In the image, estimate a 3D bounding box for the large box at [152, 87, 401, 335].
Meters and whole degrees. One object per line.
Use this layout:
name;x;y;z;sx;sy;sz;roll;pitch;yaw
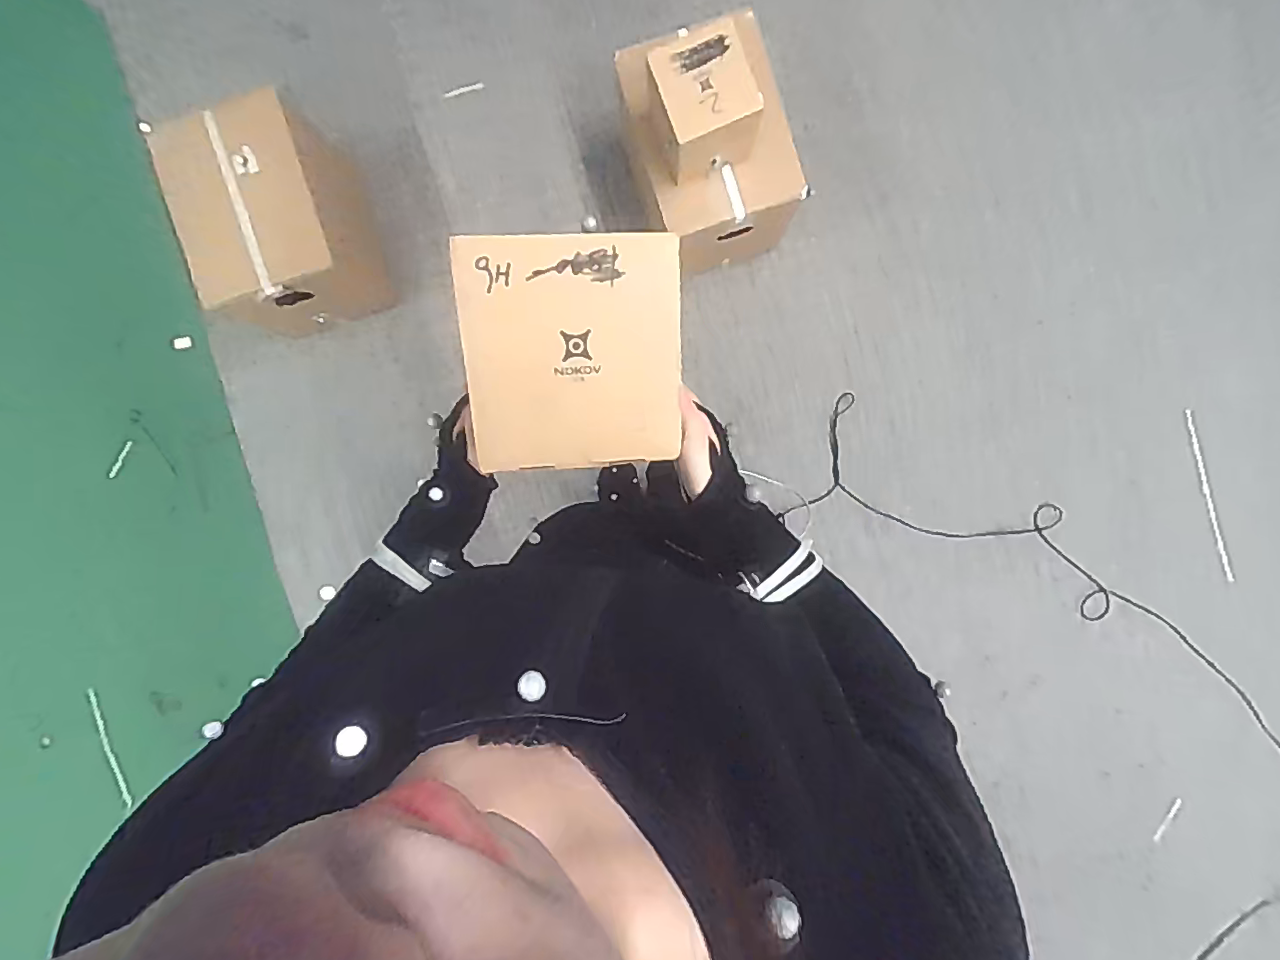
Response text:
large box;-0.857;-0.623;1.329;0.320;0.320;0.408;-17;92;3

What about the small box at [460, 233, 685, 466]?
small box;-0.059;-0.123;0.493;0.168;0.176;0.179;-4;110;-9
